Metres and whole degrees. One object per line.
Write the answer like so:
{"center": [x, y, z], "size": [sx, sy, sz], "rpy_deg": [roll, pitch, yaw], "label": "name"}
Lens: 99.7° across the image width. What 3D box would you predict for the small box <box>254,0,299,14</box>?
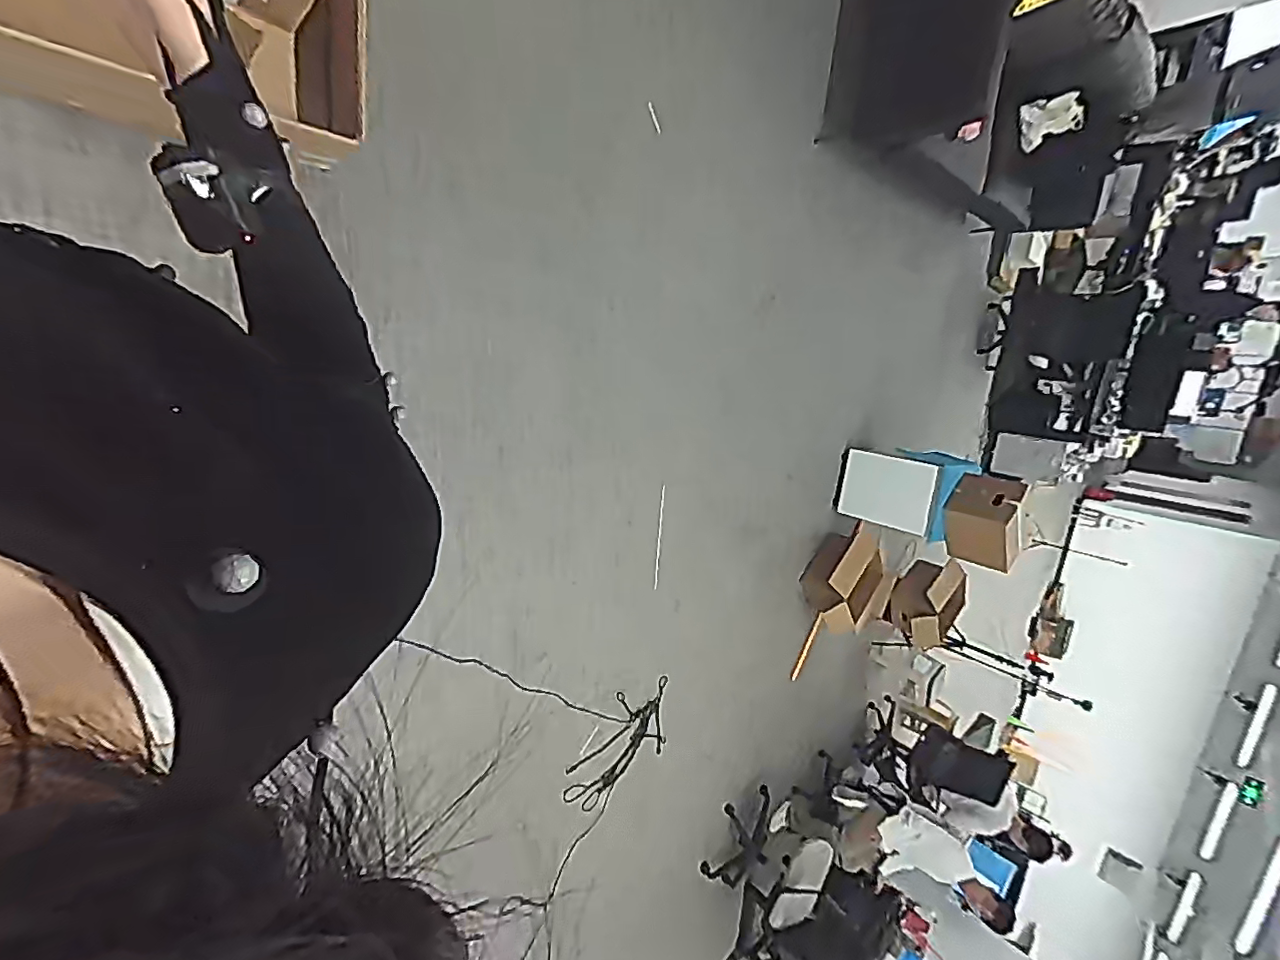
{"center": [-0.447, -0.666, 0.585], "size": [0.168, 0.176, 0.179], "rpy_deg": [2, 103, -45], "label": "small box"}
